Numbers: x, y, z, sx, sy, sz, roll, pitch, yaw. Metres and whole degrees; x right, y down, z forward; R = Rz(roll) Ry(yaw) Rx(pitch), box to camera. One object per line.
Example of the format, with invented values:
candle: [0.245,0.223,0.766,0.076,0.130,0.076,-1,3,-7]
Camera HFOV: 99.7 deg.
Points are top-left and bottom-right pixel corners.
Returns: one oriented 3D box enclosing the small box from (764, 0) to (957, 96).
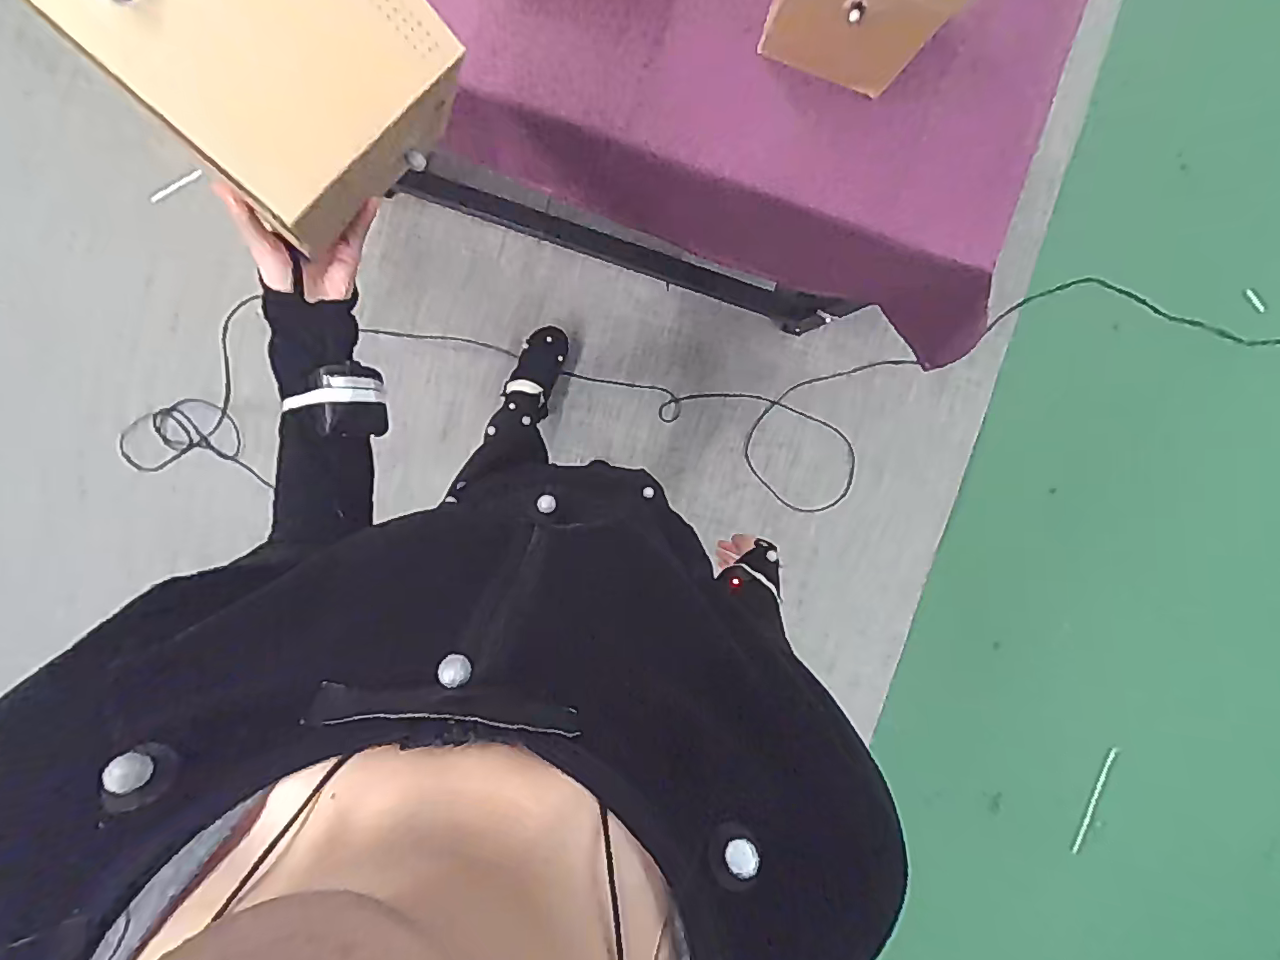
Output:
small box: [0.268,-0.603,0.637,0.179,0.176,0.168,17,96,-6]

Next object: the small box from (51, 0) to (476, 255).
small box: [-0.249,-0.297,0.384,0.176,0.168,0.179,-49,117,-6]
